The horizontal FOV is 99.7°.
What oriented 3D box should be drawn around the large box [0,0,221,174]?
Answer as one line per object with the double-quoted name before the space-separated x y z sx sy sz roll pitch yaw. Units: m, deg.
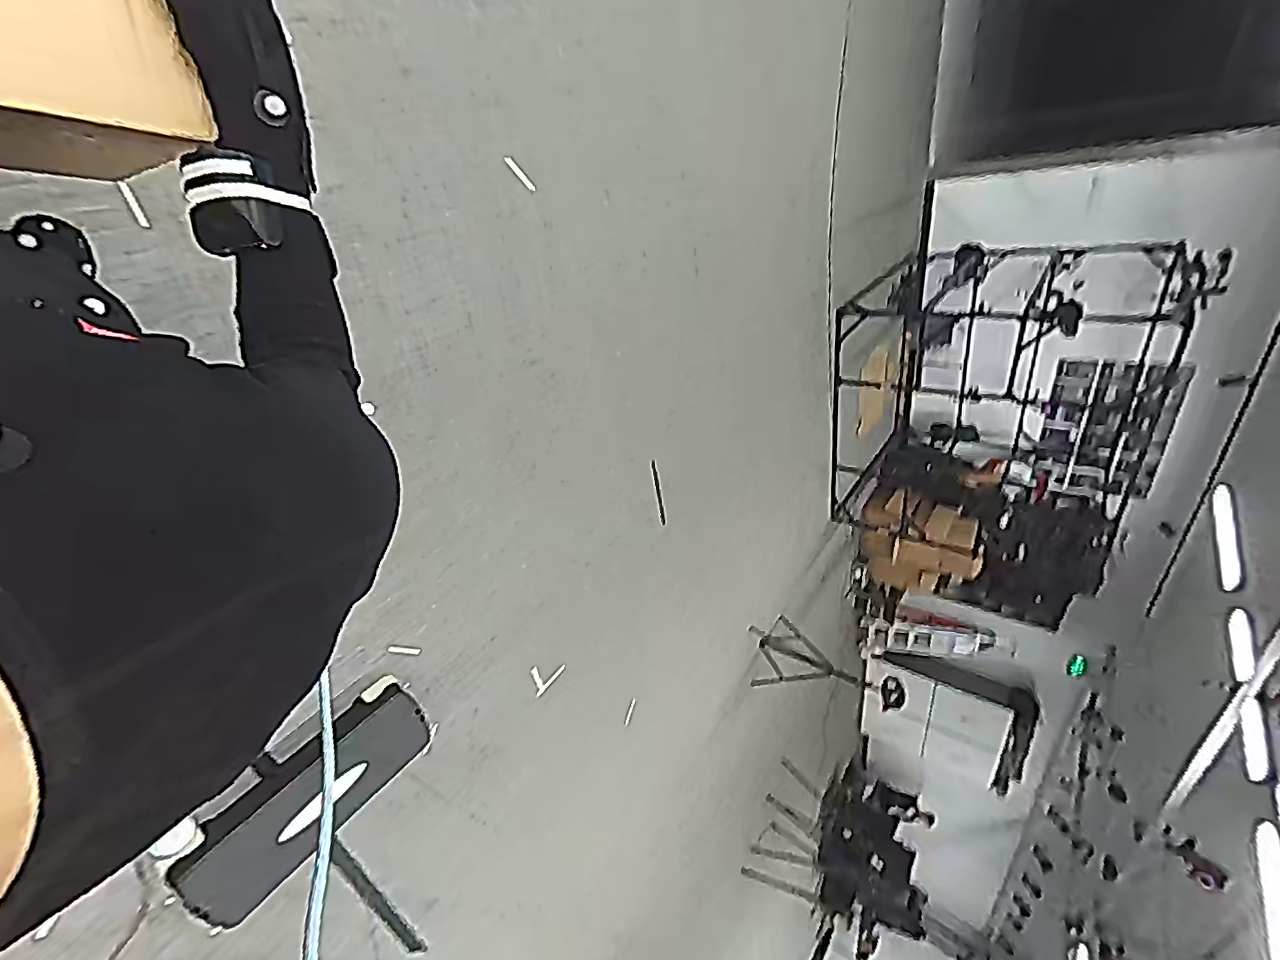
"large box" -0.562 -0.390 0.305 0.408 0.320 0.320 -23 122 -49
